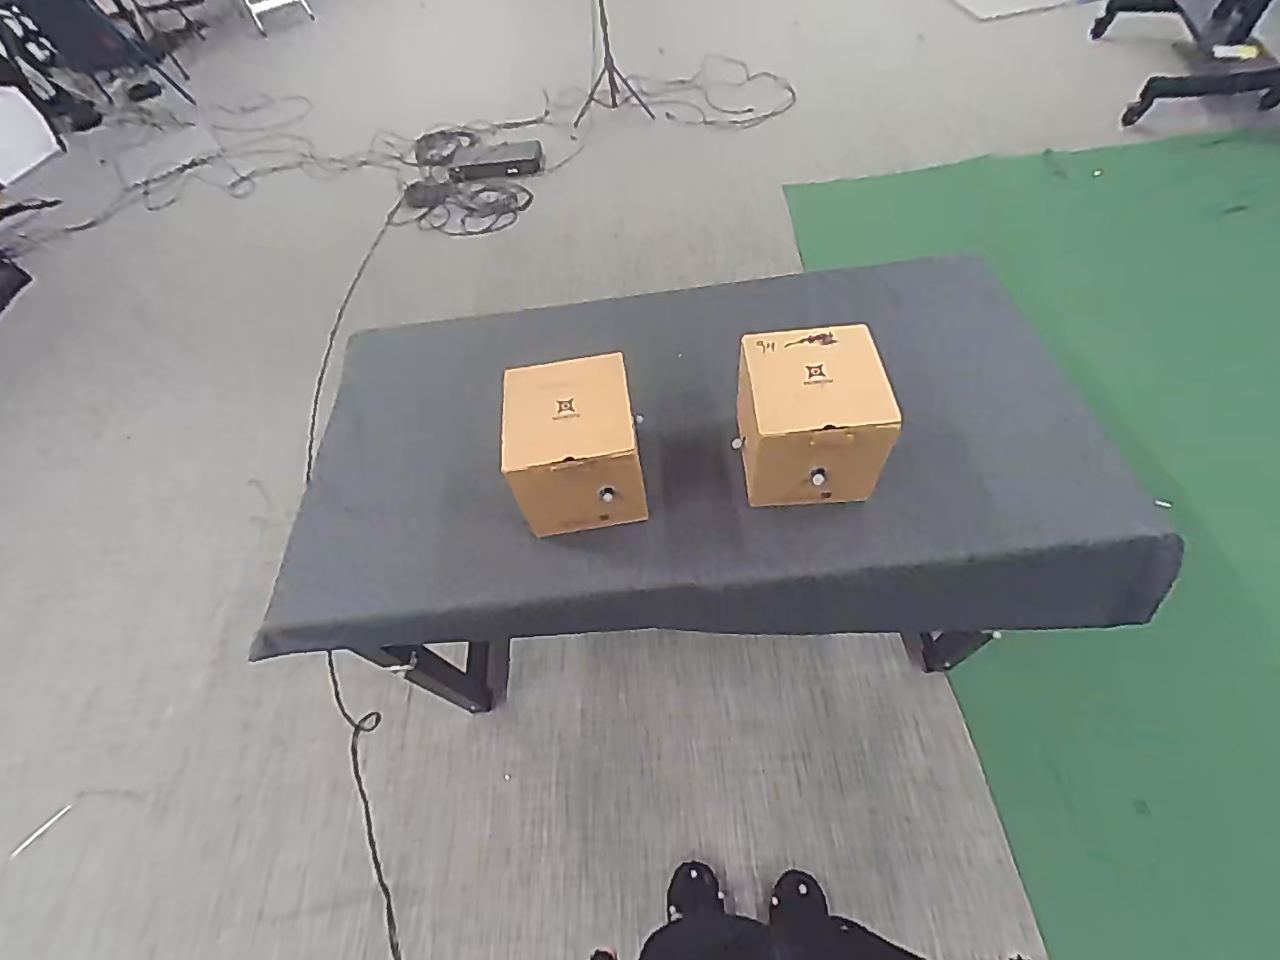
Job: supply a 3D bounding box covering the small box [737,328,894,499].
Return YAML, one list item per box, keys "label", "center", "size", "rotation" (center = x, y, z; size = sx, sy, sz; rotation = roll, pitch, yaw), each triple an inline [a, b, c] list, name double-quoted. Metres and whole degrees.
- label: "small box"
  center: [0.227, -0.083, 0.752]
  size: [0.168, 0.176, 0.179]
  rotation: [-4, 56, 4]

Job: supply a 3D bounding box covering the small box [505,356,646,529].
- label: "small box"
  center: [-0.087, -0.044, 0.767]
  size: [0.168, 0.176, 0.179]
  rotation: [-9, 54, -1]
